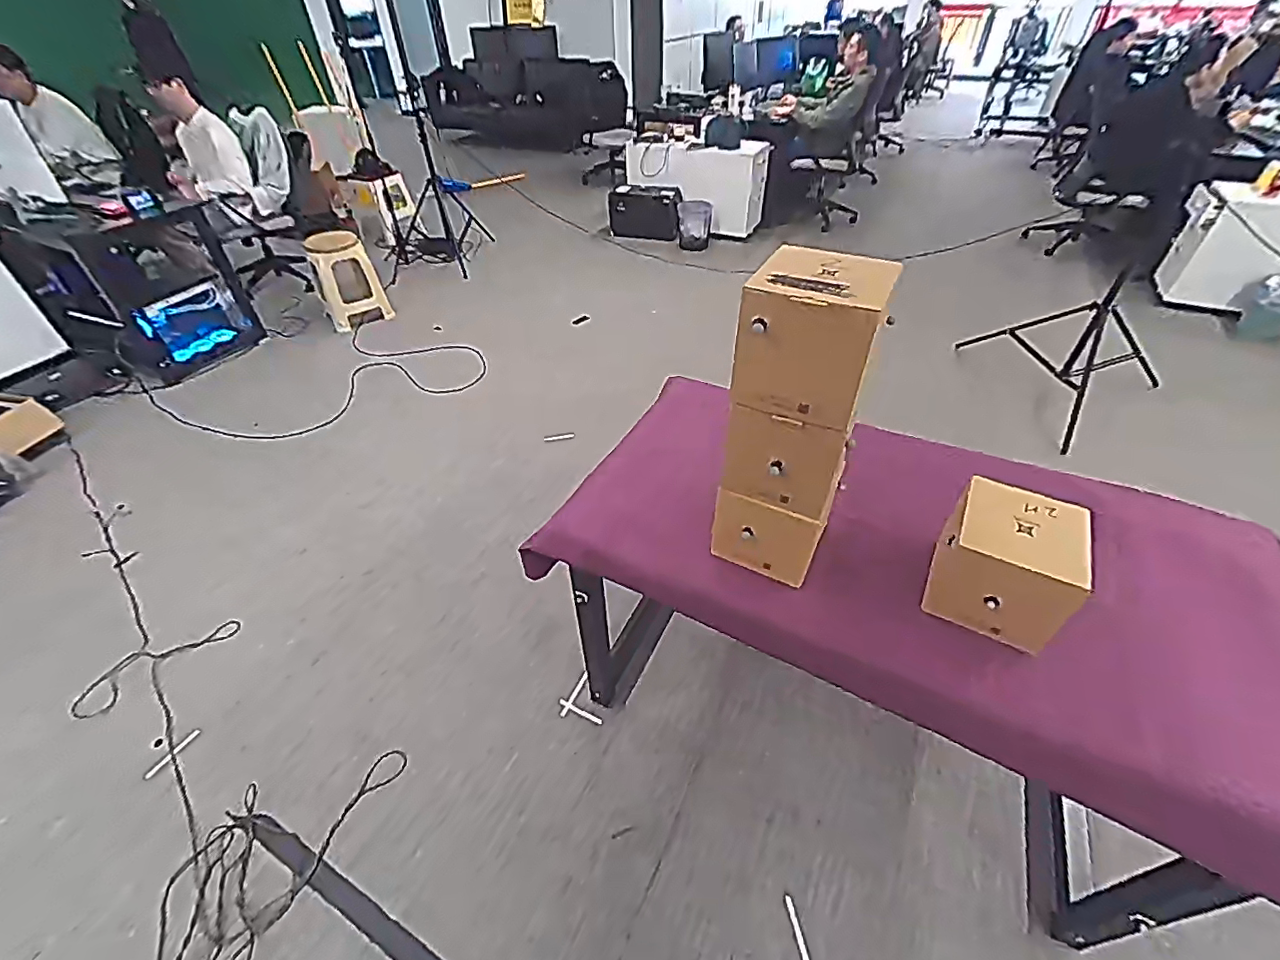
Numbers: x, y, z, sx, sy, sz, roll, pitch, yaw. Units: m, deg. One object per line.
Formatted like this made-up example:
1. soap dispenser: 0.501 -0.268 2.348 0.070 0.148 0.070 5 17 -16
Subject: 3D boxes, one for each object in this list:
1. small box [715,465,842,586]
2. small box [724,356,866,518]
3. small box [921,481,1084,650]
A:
1. small box: 0.240 0.057 0.962 0.168 0.176 0.179 20 45 21
2. small box: 0.239 -0.068 0.857 0.168 0.176 0.179 18 45 19
3. small box: 0.573 0.137 0.866 0.168 0.176 0.179 22 47 22
